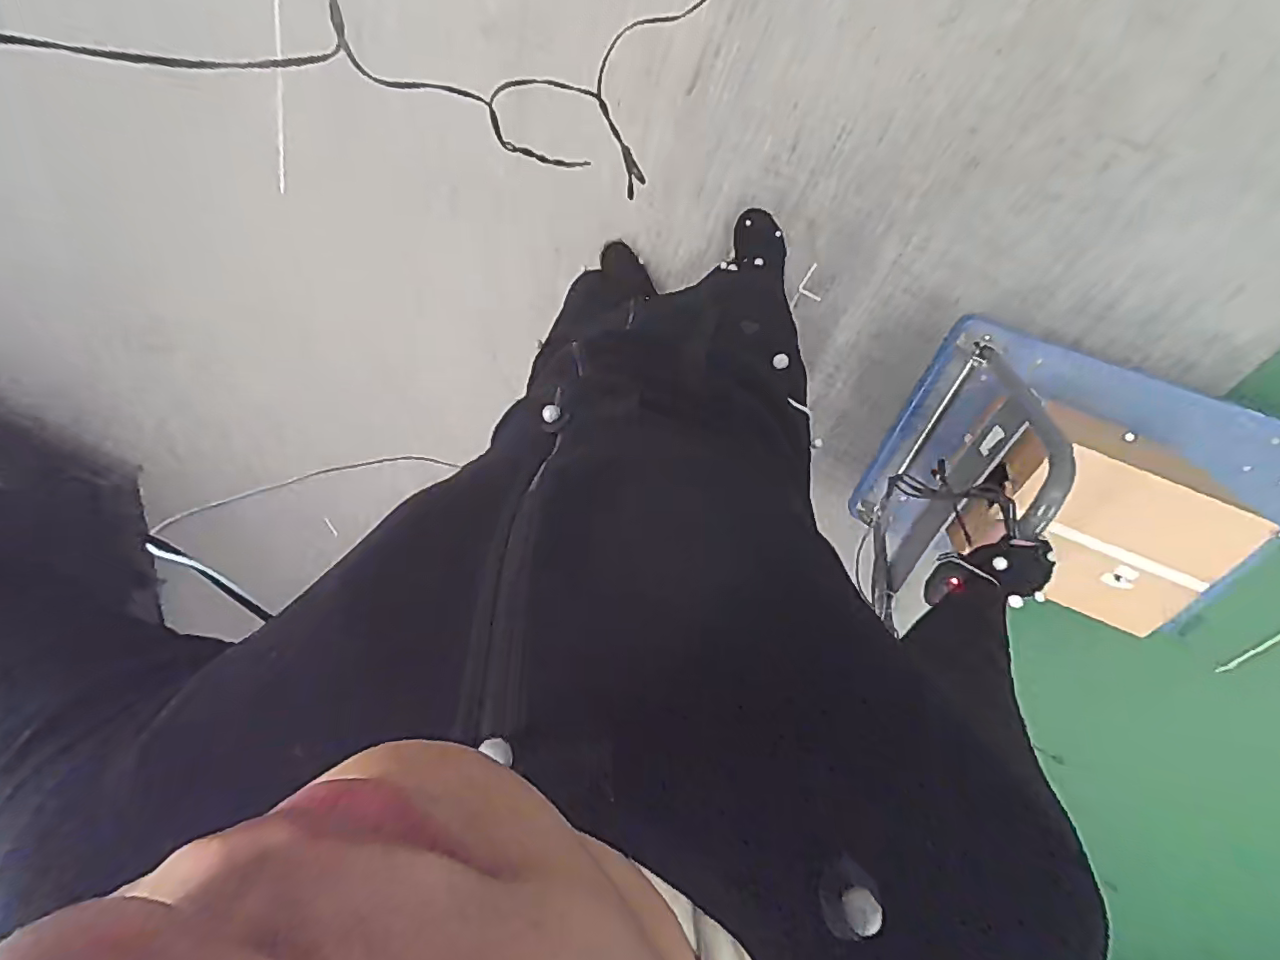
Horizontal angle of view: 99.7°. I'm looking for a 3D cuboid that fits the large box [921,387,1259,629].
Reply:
[{"bbox_3d":[0.908,0.045,1.174,0.408,0.320,0.320,23,124,3],"label":"large box"}]
